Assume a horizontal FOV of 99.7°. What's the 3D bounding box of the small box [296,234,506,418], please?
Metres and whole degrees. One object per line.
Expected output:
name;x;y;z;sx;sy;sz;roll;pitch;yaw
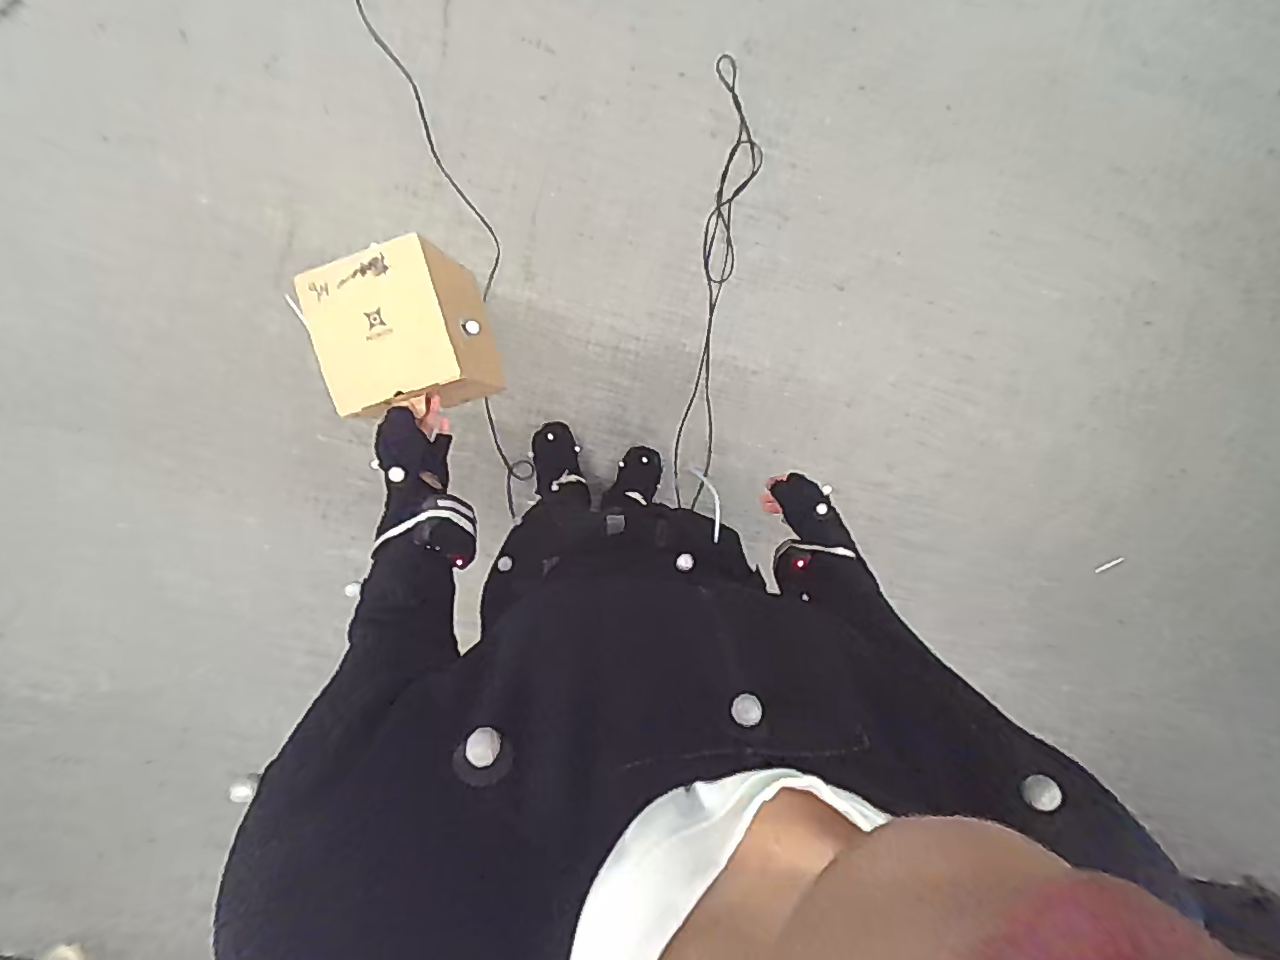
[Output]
small box;-0.298;-0.188;0.712;0.168;0.176;0.179;-16;94;7
